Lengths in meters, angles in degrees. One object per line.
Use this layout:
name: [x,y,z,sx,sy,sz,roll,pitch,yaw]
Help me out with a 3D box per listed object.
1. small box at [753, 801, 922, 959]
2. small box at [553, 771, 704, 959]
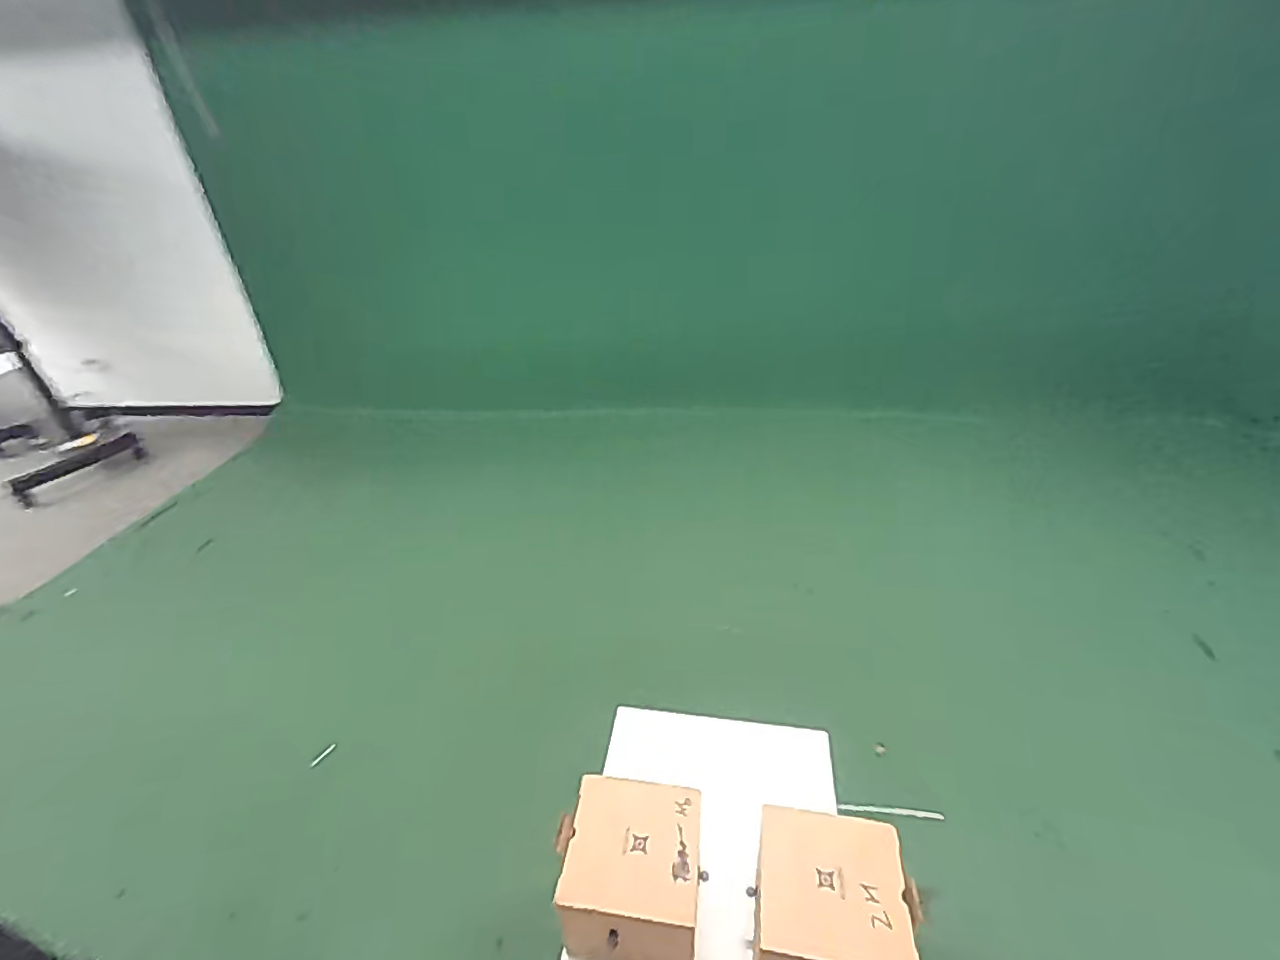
small box: [0.240,0.553,0.694,0.179,0.176,0.168,4,33,12]
small box: [-0.005,0.537,0.746,0.179,0.176,0.168,3,33,9]
